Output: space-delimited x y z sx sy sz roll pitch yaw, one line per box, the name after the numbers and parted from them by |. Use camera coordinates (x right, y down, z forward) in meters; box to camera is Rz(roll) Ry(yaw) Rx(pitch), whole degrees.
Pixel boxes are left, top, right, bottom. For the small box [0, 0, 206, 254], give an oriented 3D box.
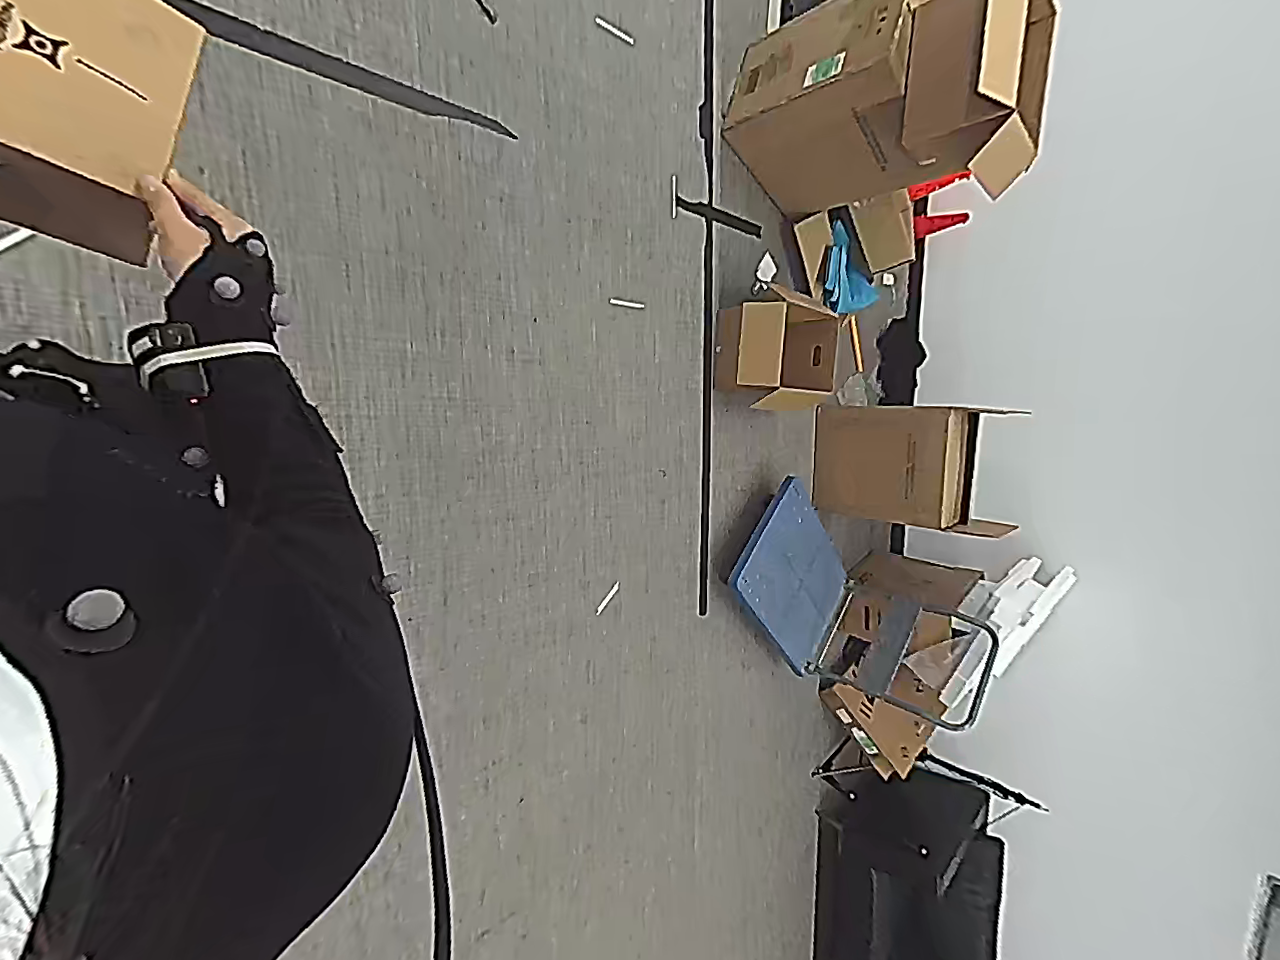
-0.490 -0.312 0.437 0.179 0.176 0.168 15 78 -45 | small box
